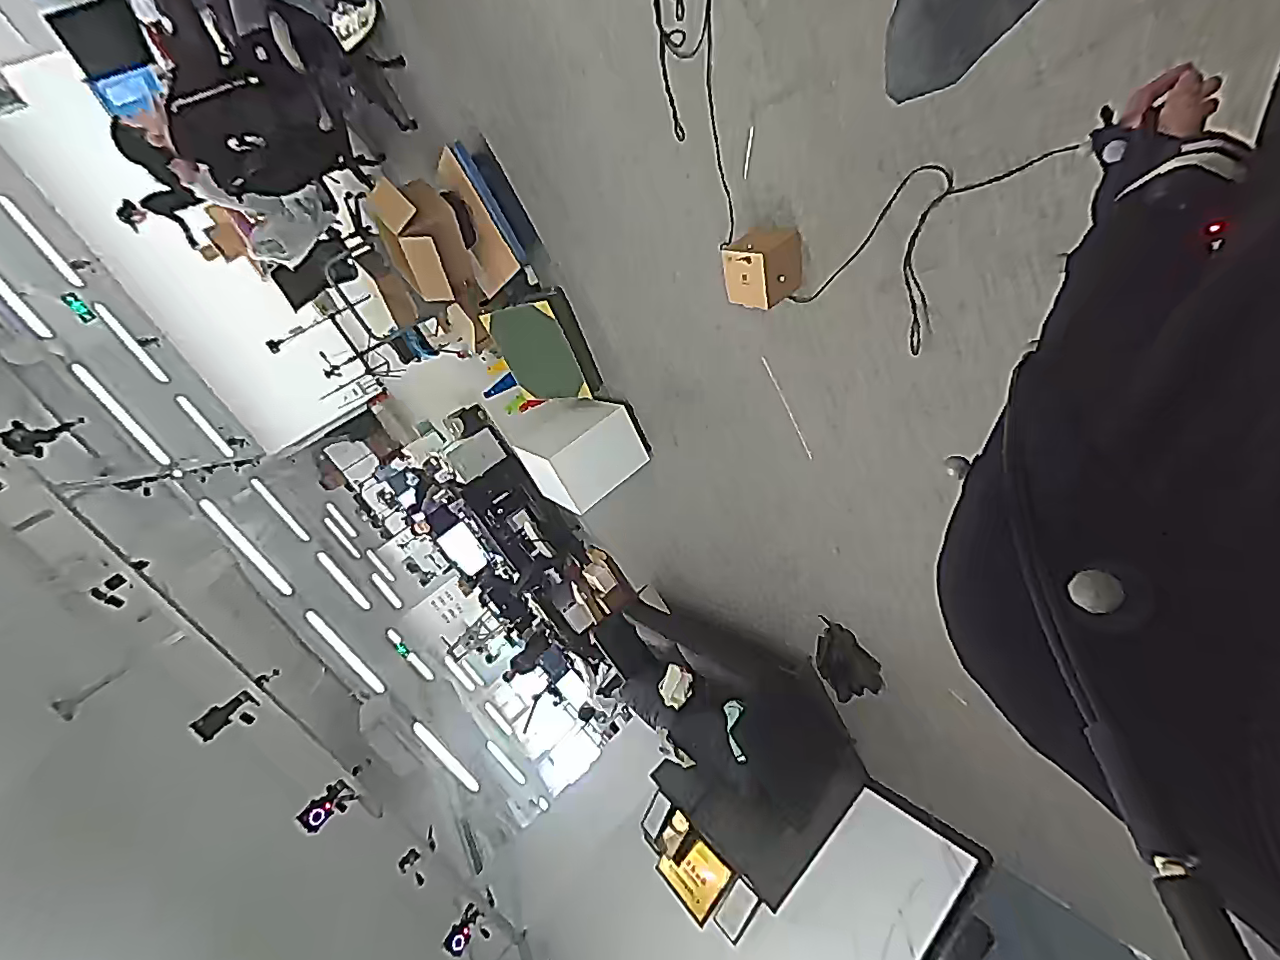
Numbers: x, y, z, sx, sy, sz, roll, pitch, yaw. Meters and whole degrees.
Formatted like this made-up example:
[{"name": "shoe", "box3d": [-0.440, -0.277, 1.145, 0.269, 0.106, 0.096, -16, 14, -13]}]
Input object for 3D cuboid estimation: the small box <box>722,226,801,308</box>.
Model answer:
[{"name": "small box", "box3d": [0.381, -0.662, 1.675, 0.168, 0.176, 0.179, 31, 150, 43]}]
